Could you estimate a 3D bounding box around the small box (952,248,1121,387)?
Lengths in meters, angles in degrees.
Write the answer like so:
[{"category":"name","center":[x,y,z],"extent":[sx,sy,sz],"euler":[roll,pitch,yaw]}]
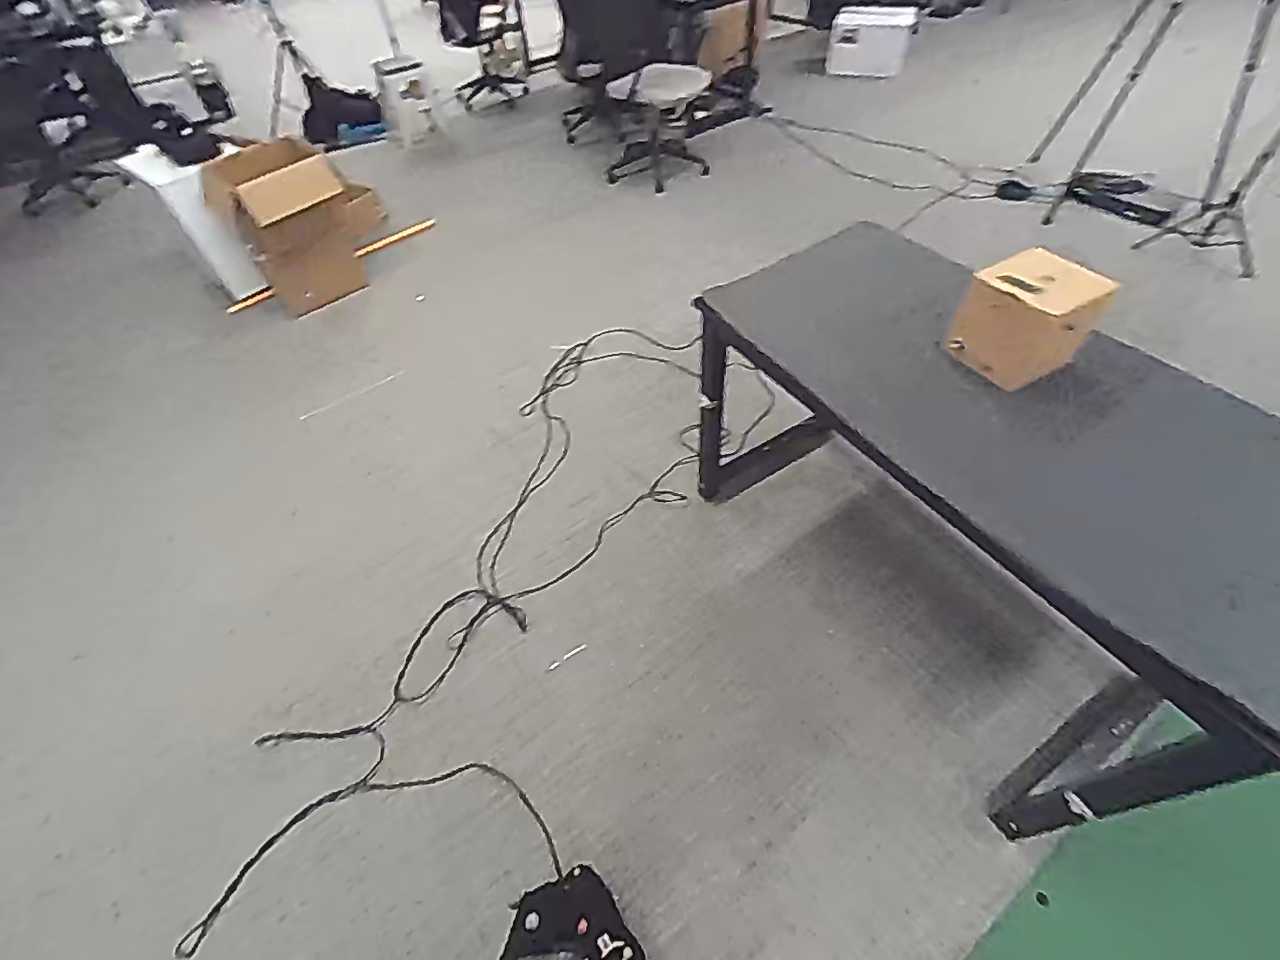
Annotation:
[{"category":"small box","center":[0.730,-0.303,1.023],"extent":[0.179,0.176,0.168],"euler":[-25,54,-15]}]
